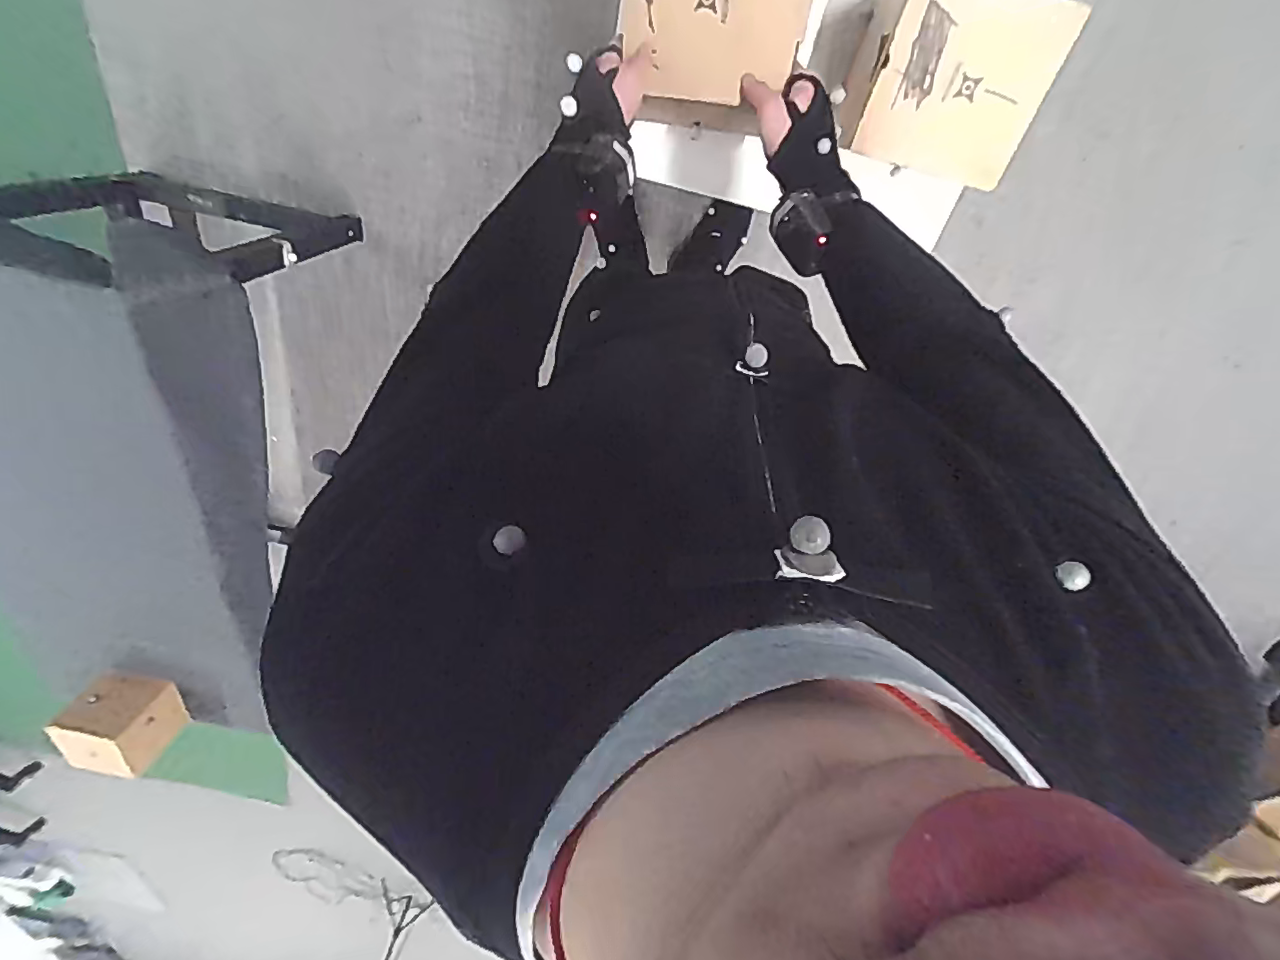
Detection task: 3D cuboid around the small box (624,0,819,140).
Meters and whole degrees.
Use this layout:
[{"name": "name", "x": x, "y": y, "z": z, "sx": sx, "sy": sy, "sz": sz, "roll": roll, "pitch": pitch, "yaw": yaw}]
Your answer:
[{"name": "small box", "x": 0.078, "y": -0.477, "z": 0.577, "sx": 0.179, "sy": 0.176, "sz": 0.168, "roll": 5, "pitch": 114, "yaw": -3}]

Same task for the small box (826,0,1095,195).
[{"name": "small box", "x": 0.340, "y": -0.446, "z": 0.622, "sx": 0.179, "sy": 0.176, "sz": 0.168, "roll": 13, "pitch": 123, "yaw": -6}]

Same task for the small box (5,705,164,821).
[{"name": "small box", "x": -1.275, "y": 0.653, "z": 1.258, "sx": 0.168, "sy": 0.176, "sz": 0.179, "roll": 11, "pitch": 123, "yaw": -2}]
